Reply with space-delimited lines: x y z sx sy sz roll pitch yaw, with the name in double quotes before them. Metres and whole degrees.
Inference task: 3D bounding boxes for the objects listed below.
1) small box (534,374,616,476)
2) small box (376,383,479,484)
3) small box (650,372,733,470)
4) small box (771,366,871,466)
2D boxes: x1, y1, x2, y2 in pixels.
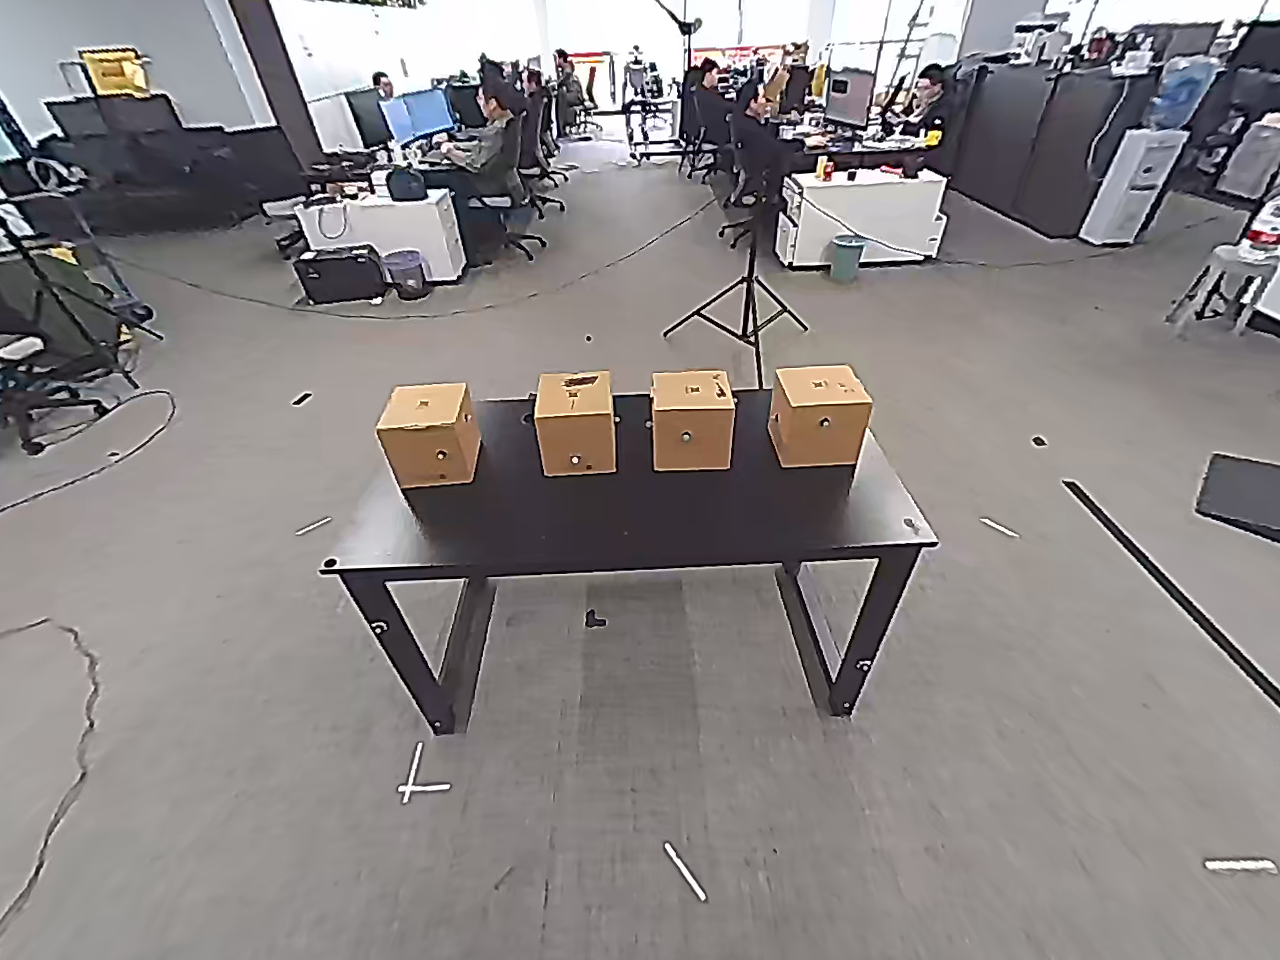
"small box" -0.144 -0.128 1.254 0.168 0.176 0.179 -4 41 -1
"small box" -0.475 -0.102 1.240 0.168 0.176 0.179 -4 39 -4
"small box" 0.116 -0.134 1.249 0.179 0.176 0.168 -2 40 2
"small box" 0.404 -0.145 1.243 0.179 0.176 0.168 -3 40 1
